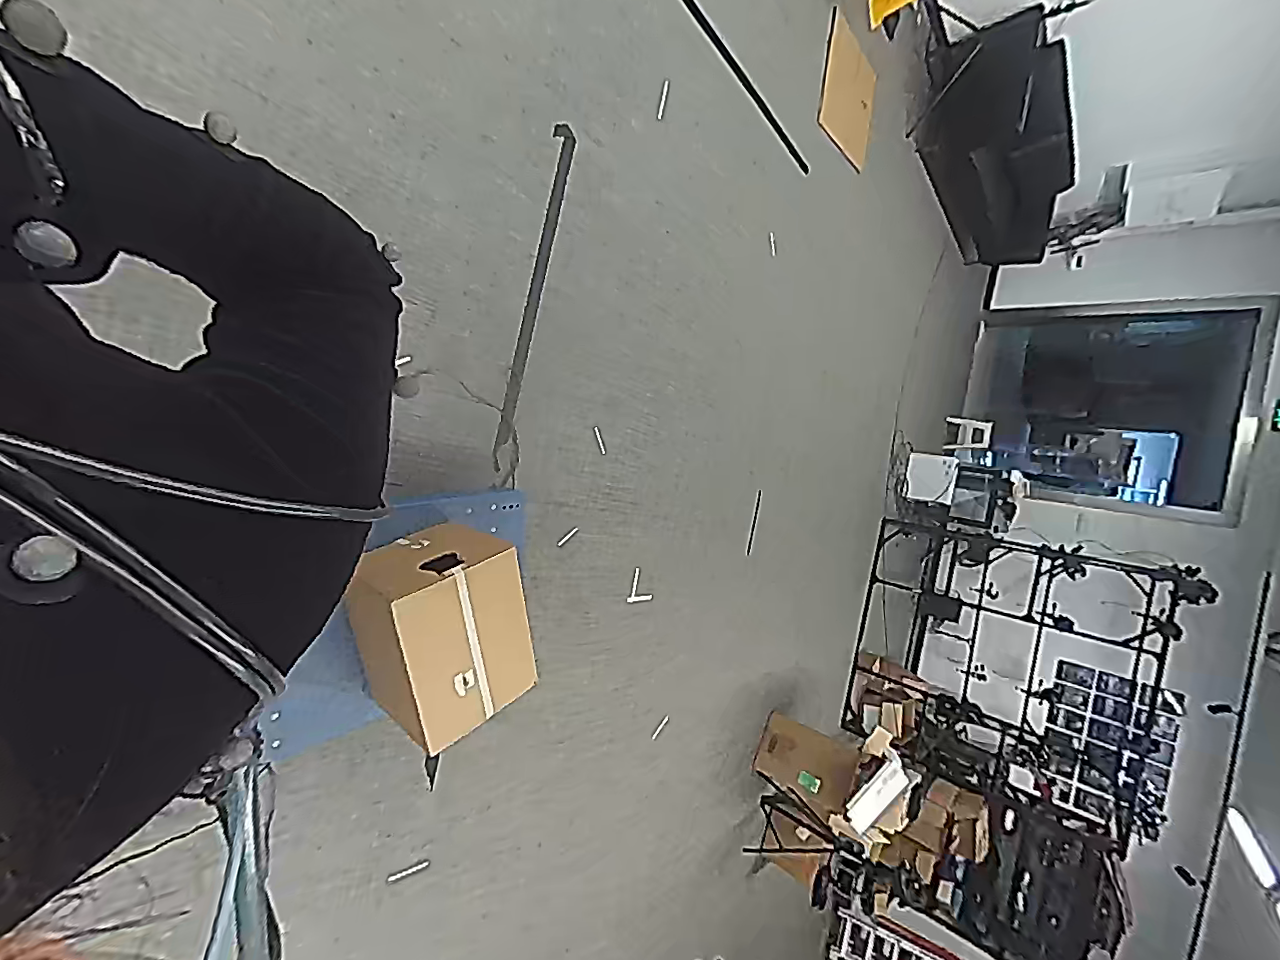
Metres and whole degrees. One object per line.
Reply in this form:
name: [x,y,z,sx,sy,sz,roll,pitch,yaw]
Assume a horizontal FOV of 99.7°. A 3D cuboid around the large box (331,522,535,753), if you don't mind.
large box: [-0.505,0.364,1.347,0.320,0.320,0.408,-23,116,-44]
